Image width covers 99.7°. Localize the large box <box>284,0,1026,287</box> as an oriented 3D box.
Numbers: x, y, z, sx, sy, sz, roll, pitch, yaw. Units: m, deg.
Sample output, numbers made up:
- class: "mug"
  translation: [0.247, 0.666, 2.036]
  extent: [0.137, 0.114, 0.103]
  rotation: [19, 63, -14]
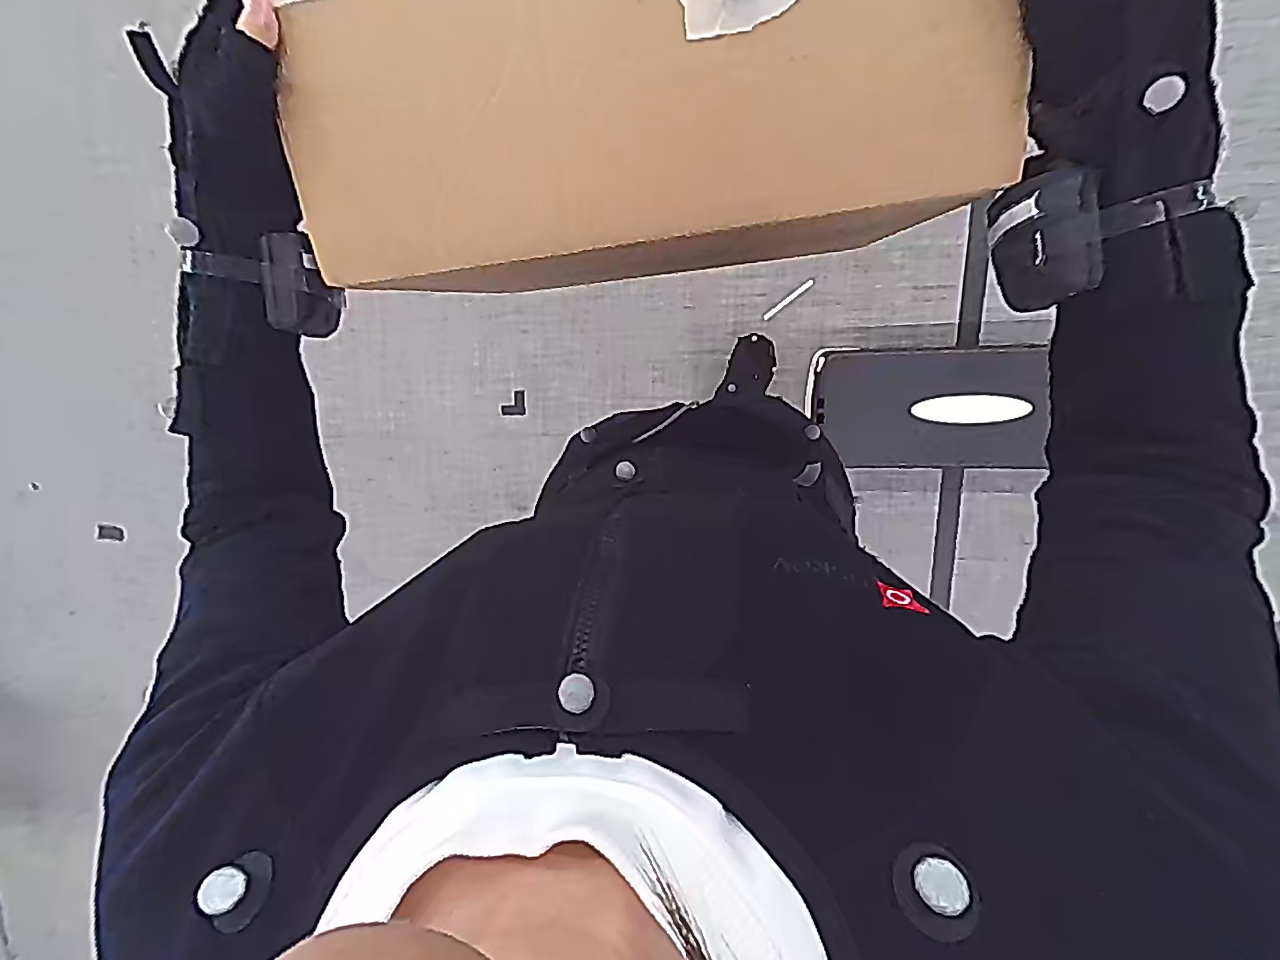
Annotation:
- class: "large box"
  translation: [0.006, -0.343, 0.419]
  extent: [0.408, 0.320, 0.320]
  rotation: [-5, 108, 9]
